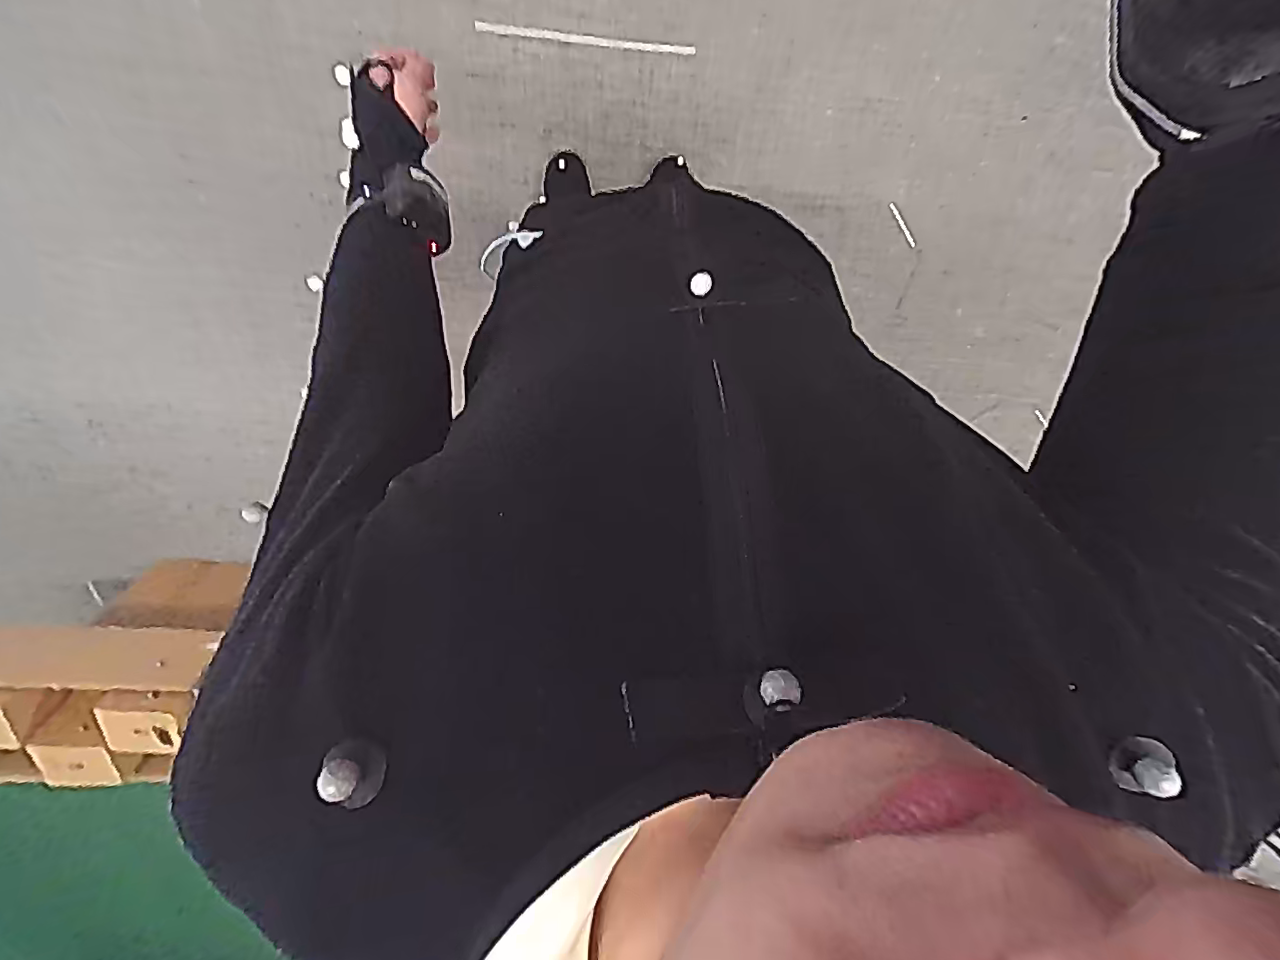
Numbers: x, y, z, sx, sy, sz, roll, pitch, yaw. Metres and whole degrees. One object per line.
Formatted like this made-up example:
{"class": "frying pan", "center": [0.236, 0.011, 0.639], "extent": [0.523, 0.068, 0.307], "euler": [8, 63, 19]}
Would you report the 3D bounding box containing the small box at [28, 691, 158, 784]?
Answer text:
{"class": "small box", "center": [-1.460, 0.694, 1.463], "extent": [0.179, 0.176, 0.168], "euler": [6, 119, -10]}
